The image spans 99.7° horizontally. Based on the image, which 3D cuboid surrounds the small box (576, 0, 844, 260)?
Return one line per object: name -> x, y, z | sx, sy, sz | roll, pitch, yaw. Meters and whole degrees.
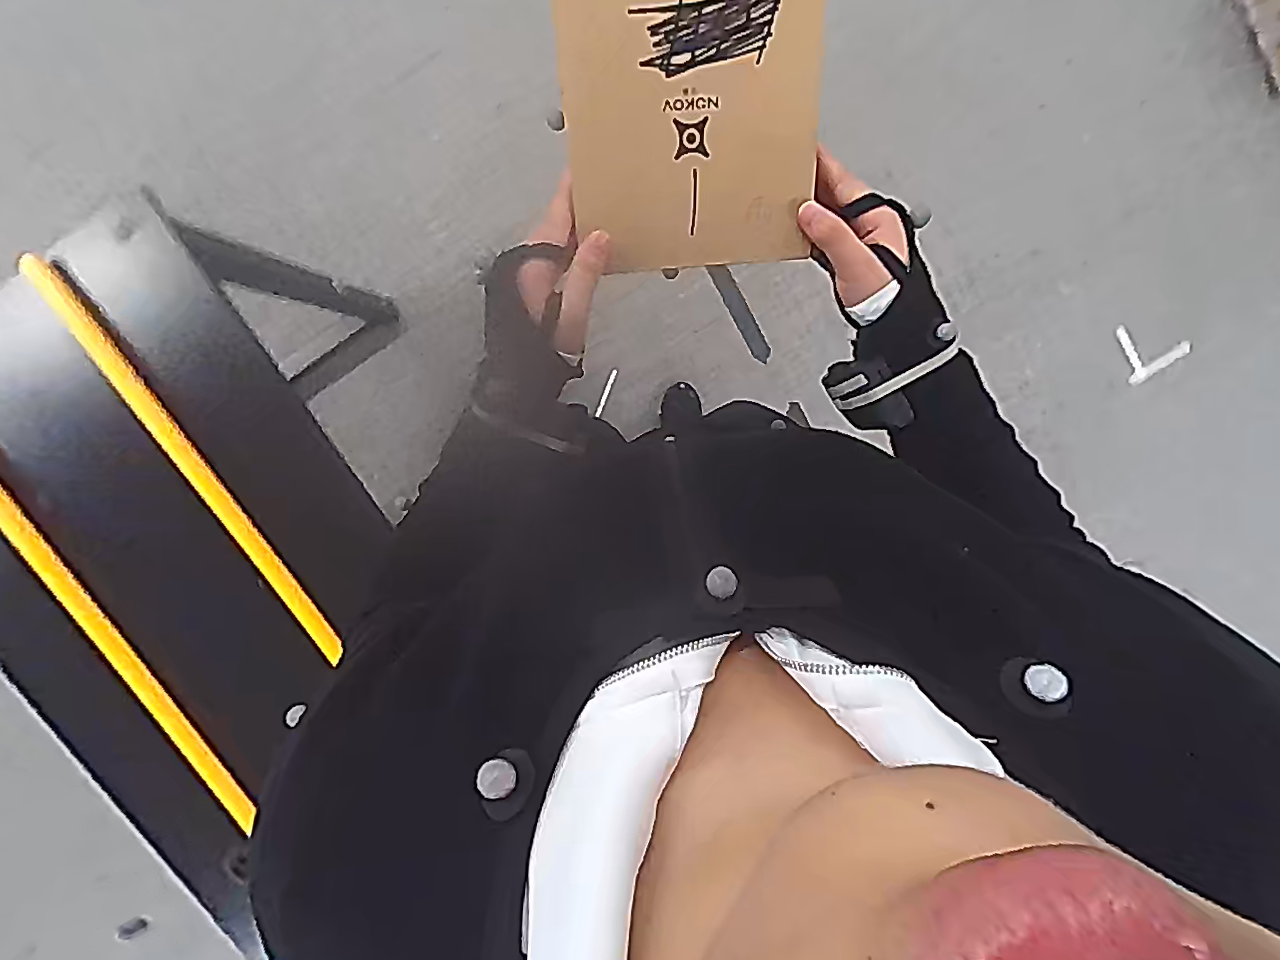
small box -> 0.040, -0.272, 0.419 | 0.168, 0.176, 0.179 | -4, 116, -1
